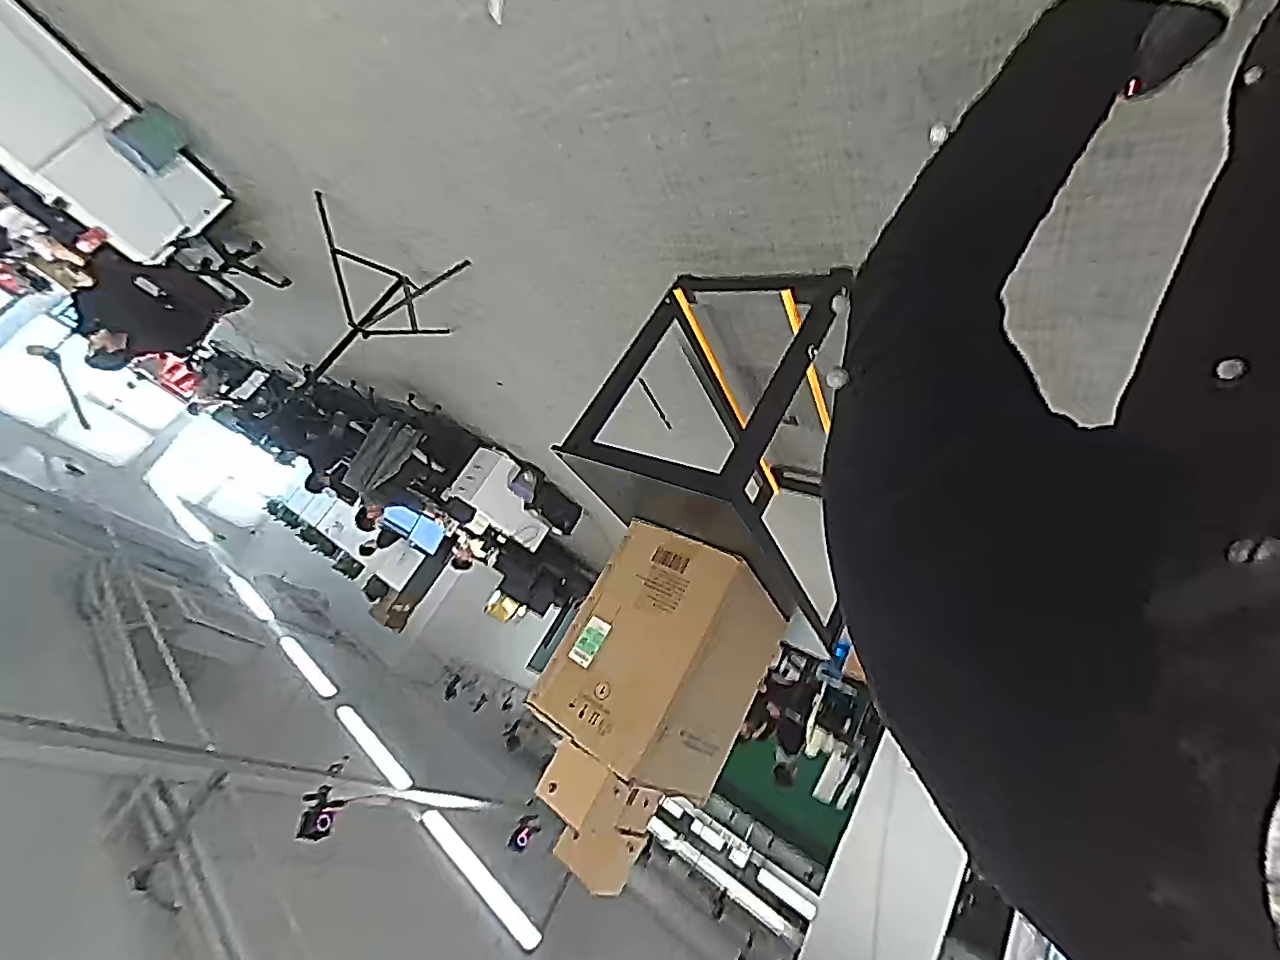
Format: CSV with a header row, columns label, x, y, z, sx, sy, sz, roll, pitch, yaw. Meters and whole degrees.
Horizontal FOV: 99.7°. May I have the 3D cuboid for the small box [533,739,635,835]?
label,x,y,z,sx,sy,sz,roll,pitch,yaw
small box,-0.146,0.818,1.458,0.179,0.176,0.168,16,159,38

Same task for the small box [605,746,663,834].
label,x,y,z,sx,sy,sz,roll,pitch,yaw
small box,-0.049,0.957,1.674,0.179,0.176,0.168,16,155,39

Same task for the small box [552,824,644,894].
label,x,y,z,sx,sy,sz,roll,pitch,yaw
small box,-0.122,1.092,1.616,0.179,0.176,0.168,16,156,40
